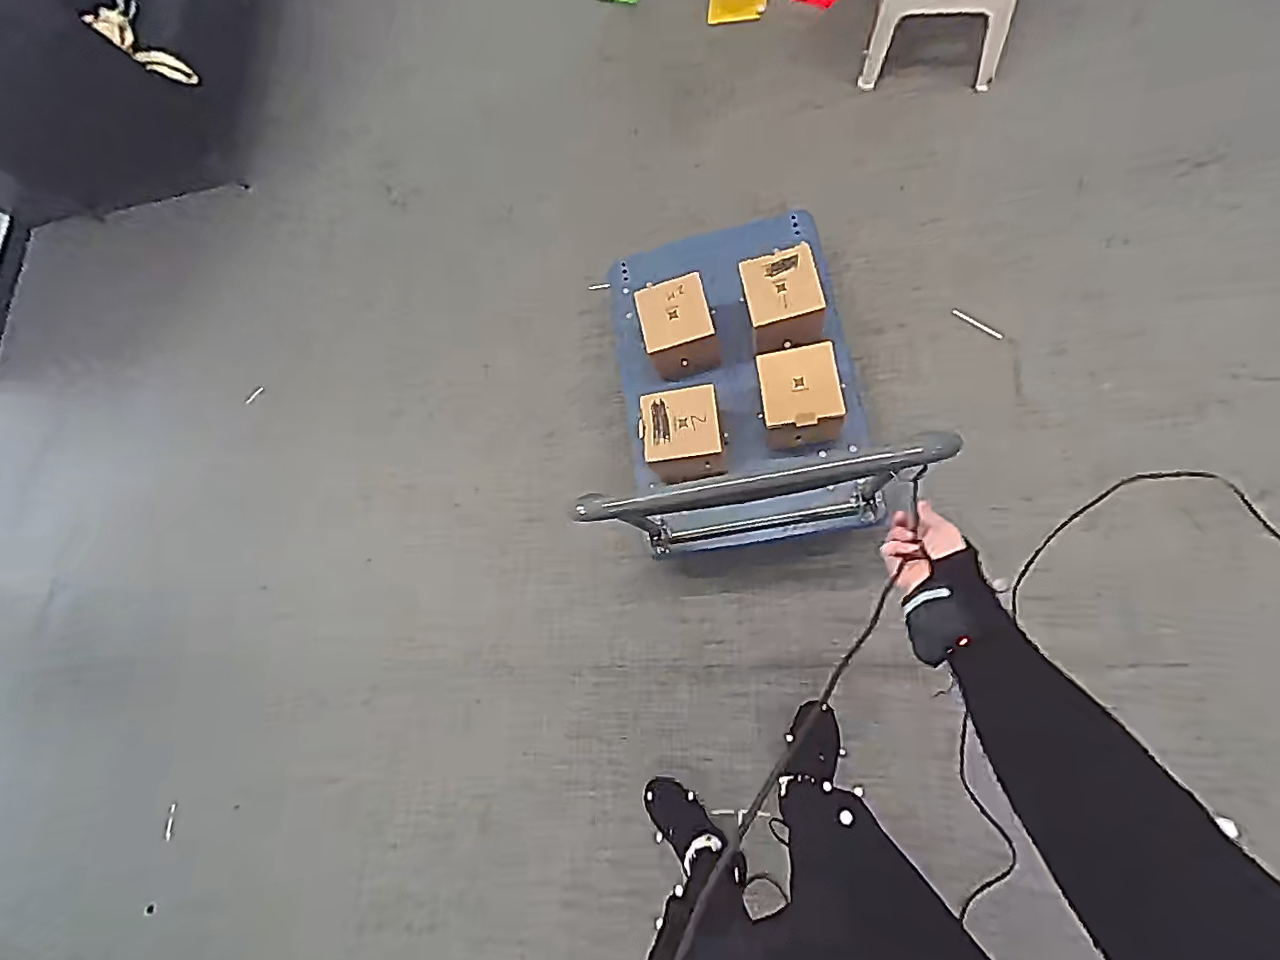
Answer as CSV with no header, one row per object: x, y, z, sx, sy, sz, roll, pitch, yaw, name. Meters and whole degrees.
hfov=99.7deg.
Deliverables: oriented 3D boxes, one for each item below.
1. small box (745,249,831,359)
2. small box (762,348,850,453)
0.355,-0.418,1.314,0.168,0.176,0.179,-13,75,12,small box
0.376,-0.178,1.248,0.168,0.176,0.179,-9,75,13,small box
